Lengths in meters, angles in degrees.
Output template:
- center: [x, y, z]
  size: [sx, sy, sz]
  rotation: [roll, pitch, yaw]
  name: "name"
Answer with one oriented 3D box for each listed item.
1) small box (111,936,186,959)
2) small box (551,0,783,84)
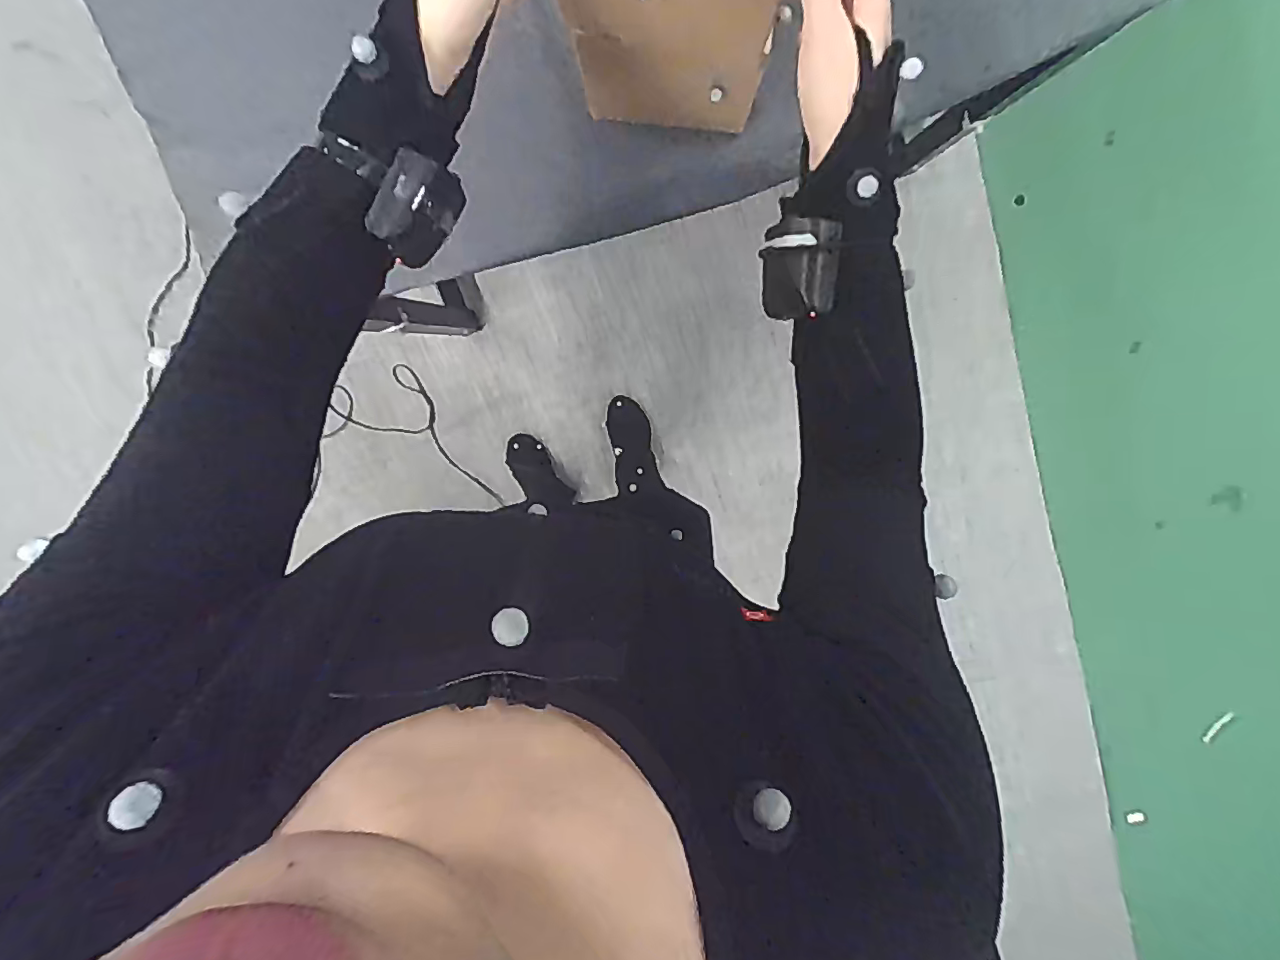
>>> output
- center: [-0.772, 0.829, 0.783]
  size: [0.168, 0.176, 0.179]
  rotation: [42, 98, -11]
  name: "small box"
- center: [0.032, -0.418, 0.378]
  size: [0.179, 0.176, 0.168]
  rotation: [14, 102, -1]
  name: "small box"
